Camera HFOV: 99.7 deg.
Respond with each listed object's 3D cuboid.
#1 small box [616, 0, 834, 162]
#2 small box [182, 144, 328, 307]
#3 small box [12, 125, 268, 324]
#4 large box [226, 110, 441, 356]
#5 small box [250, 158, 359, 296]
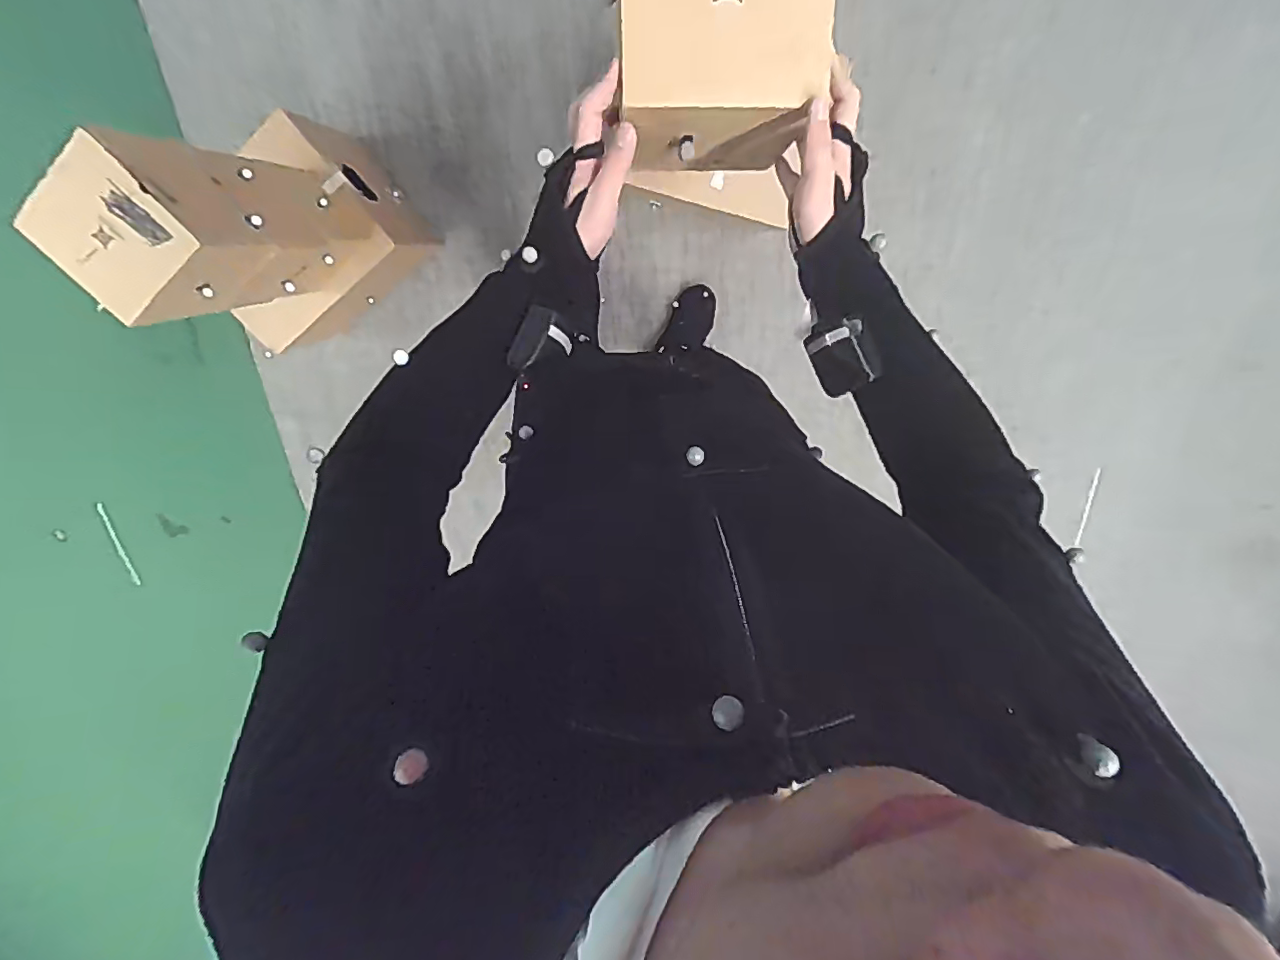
[{"bbox_3d":[0.063,-0.396,0.474,0.168,0.176,0.179,-1,104,-2],"label":"small box"},{"bbox_3d":[-0.677,-0.416,0.904,0.168,0.176,0.179,-33,110,14],"label":"small box"},{"bbox_3d":[-0.671,-0.349,0.755,0.179,0.176,0.168,-34,109,15],"label":"small box"},{"bbox_3d":[-0.762,-0.565,1.284,0.408,0.320,0.320,-34,108,14],"label":"large box"},{"bbox_3d":[-0.684,-0.485,1.051,0.179,0.176,0.168,-35,109,14],"label":"small box"}]
